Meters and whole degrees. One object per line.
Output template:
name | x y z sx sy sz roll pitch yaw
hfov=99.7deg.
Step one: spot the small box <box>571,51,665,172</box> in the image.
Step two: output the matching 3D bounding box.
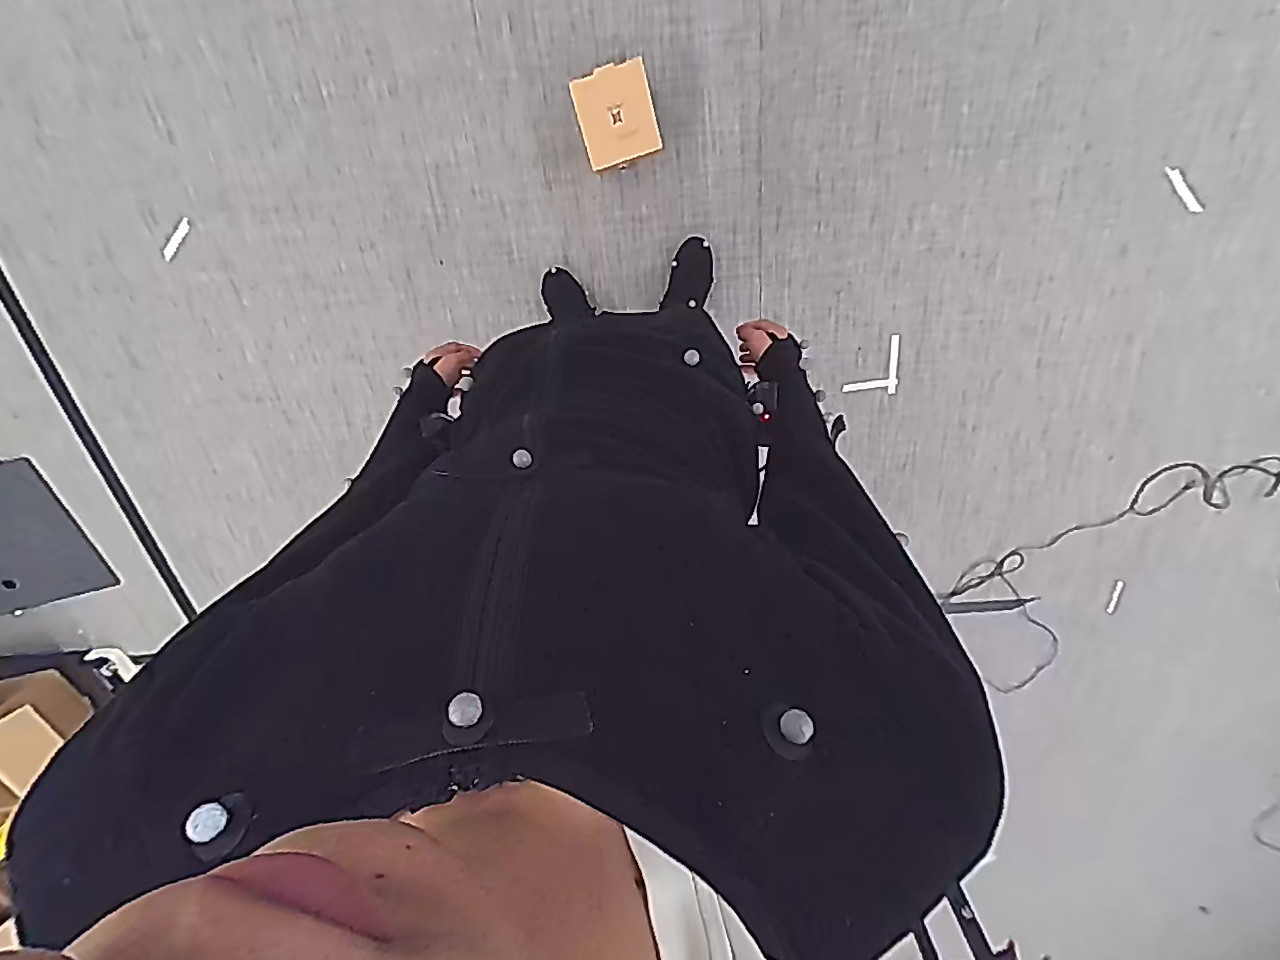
small box | -0.046 -0.825 1.228 0.168 0.176 0.179 -14 115 8
